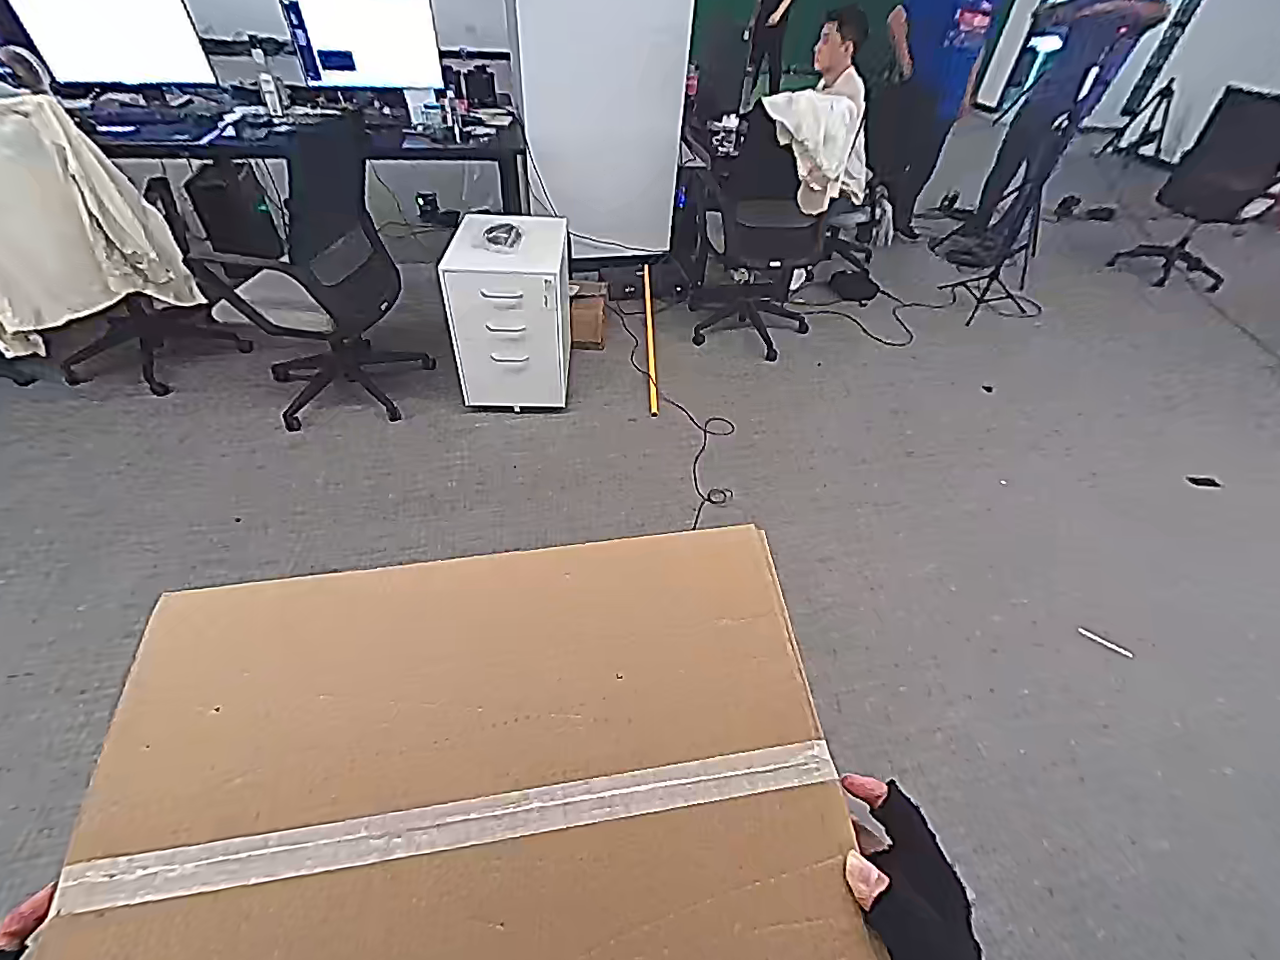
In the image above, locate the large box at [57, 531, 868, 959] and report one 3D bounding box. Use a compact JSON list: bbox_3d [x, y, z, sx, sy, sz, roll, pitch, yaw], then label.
[{"bbox_3d":[-0.096,0.266,0.431,0.408,0.320,0.320,-6,57,-6],"label":"large box"}]
